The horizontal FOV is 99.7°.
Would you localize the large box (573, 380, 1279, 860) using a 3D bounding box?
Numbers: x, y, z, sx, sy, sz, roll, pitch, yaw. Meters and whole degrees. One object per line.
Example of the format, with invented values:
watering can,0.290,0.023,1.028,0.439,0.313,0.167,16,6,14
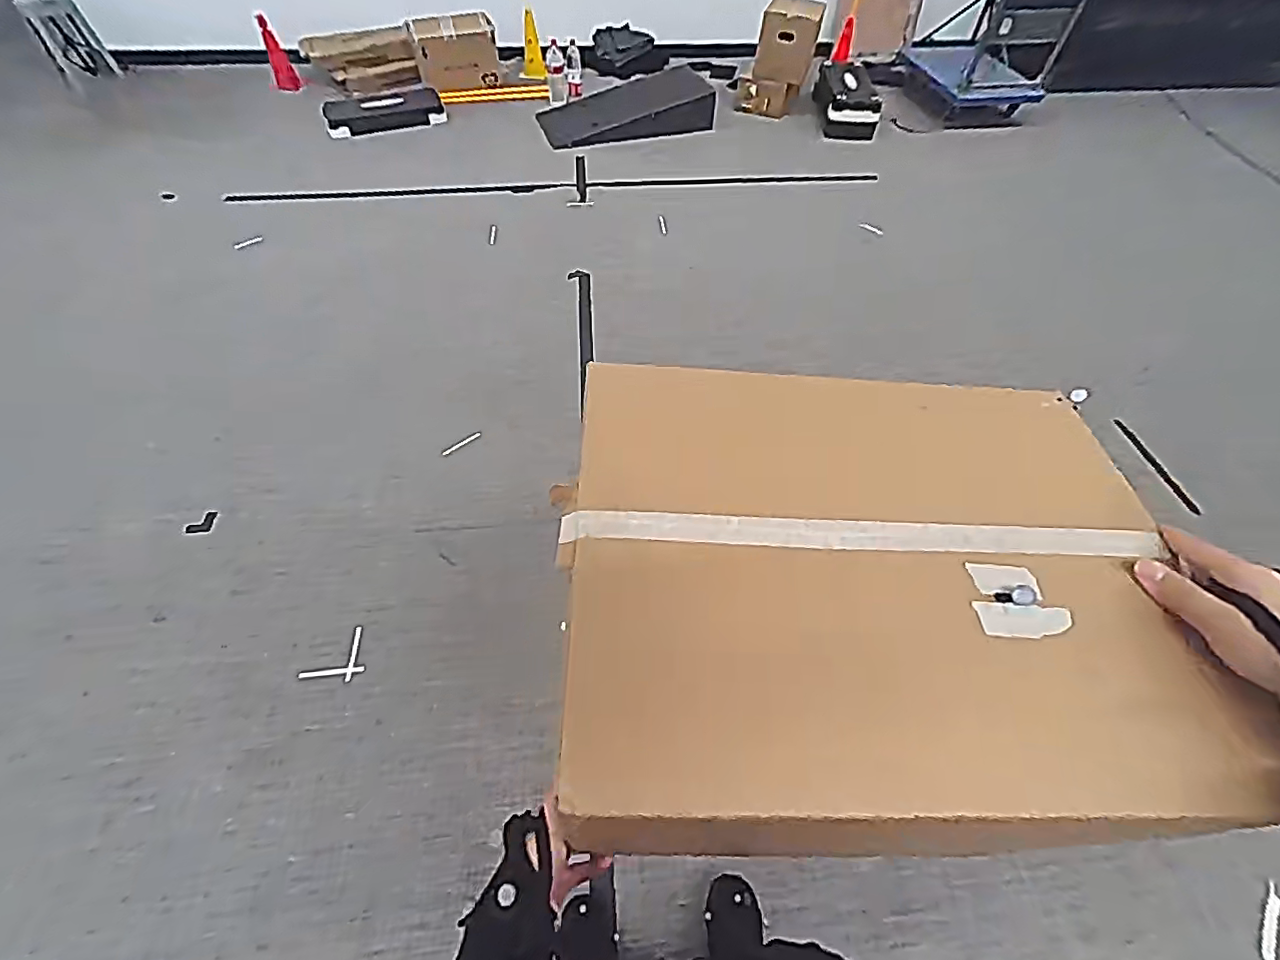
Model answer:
large box,0.147,0.137,0.481,0.408,0.320,0.320,3,53,-5
